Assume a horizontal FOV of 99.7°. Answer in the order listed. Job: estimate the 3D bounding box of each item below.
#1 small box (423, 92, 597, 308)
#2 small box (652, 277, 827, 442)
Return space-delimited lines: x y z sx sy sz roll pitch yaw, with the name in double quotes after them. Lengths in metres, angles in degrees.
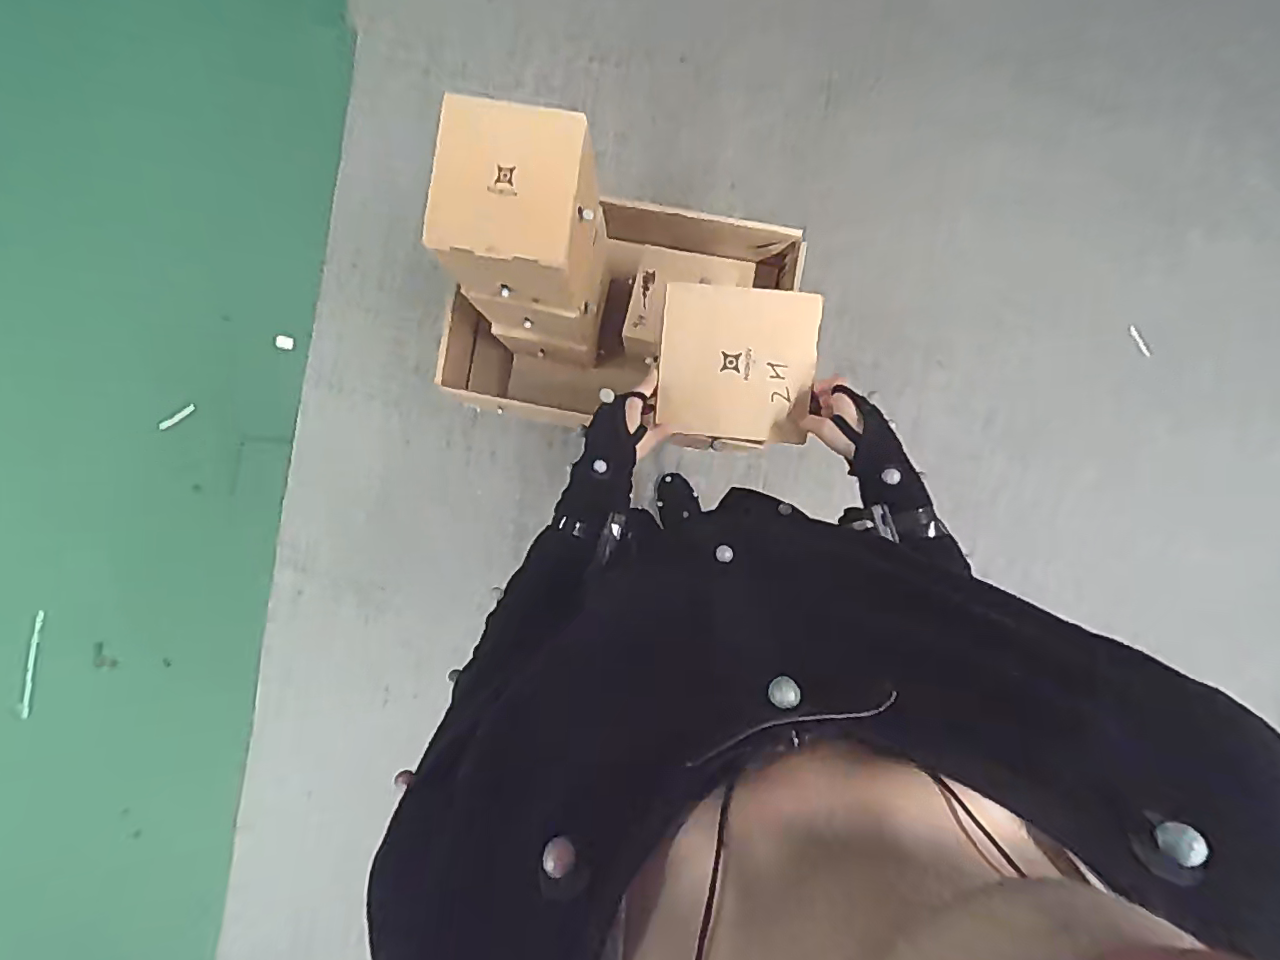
-0.151 -0.340 0.688 0.168 0.176 0.179 9 91 1 "small box"
0.109 -0.138 0.669 0.179 0.176 0.168 6 96 0 "small box"
